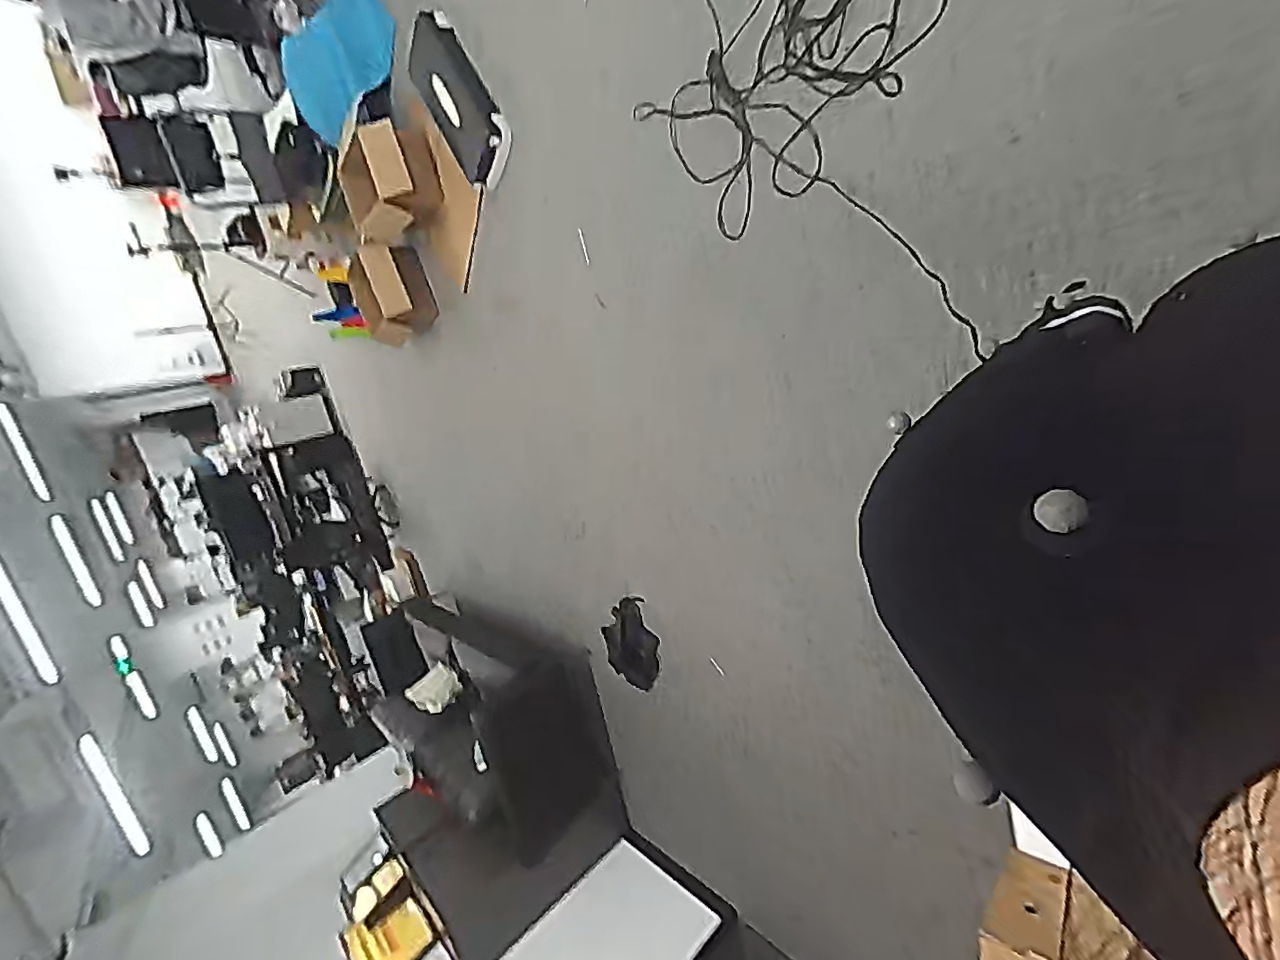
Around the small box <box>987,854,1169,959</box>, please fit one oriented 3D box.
[{"bbox_3d":[0.610,0.679,0.751,0.168,0.176,0.179,-3,106,50],"label":"small box"}]
